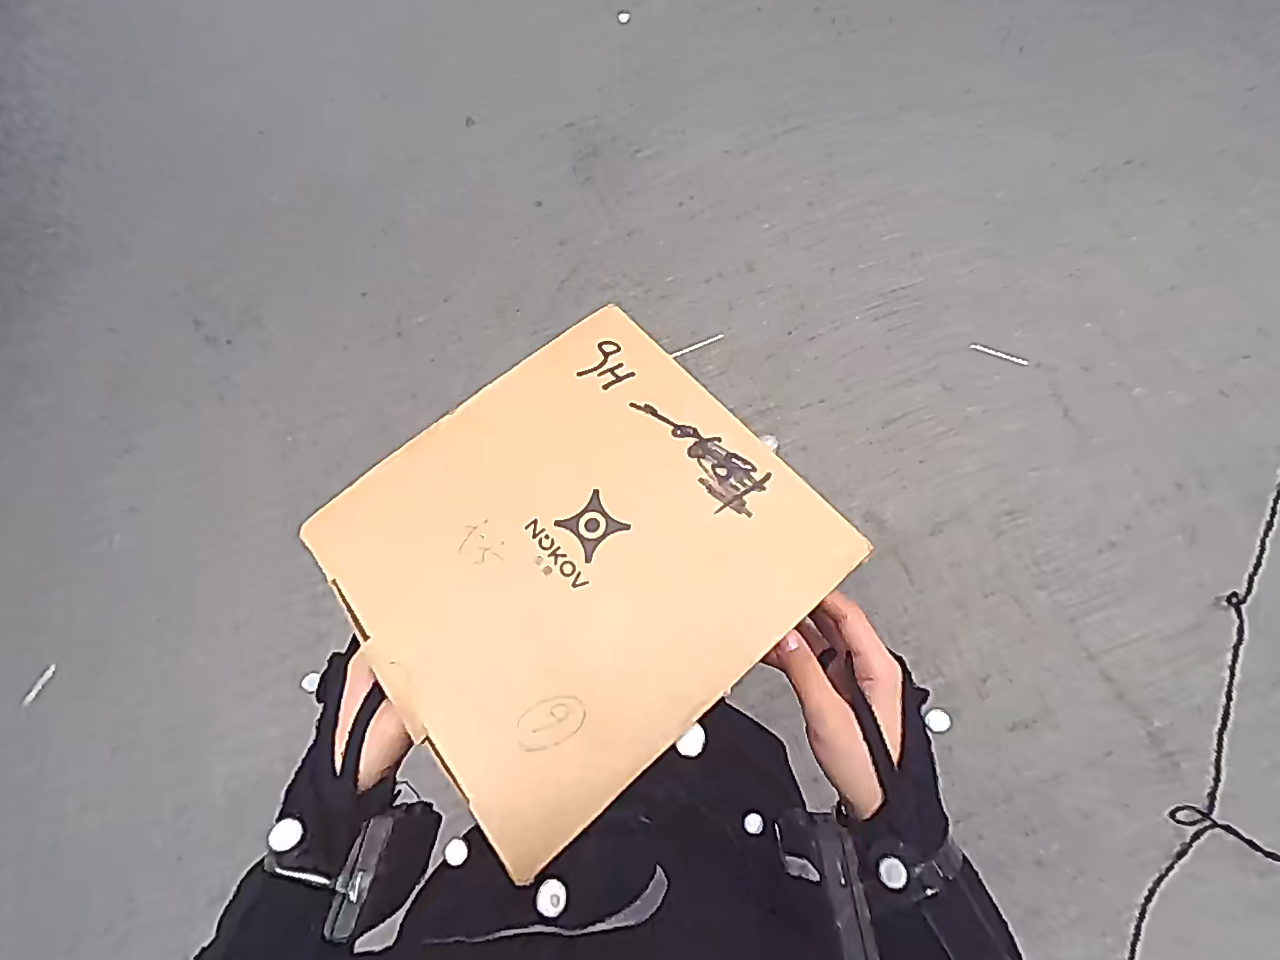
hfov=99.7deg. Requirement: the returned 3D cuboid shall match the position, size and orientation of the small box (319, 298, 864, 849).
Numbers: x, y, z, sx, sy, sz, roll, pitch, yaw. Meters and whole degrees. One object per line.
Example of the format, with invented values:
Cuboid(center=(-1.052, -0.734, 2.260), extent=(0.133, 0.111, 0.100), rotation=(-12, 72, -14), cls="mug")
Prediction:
Cuboid(center=(-0.019, 0.048, 0.297), extent=(0.179, 0.176, 0.168), rotation=(-38, 71, -10), cls="small box")
